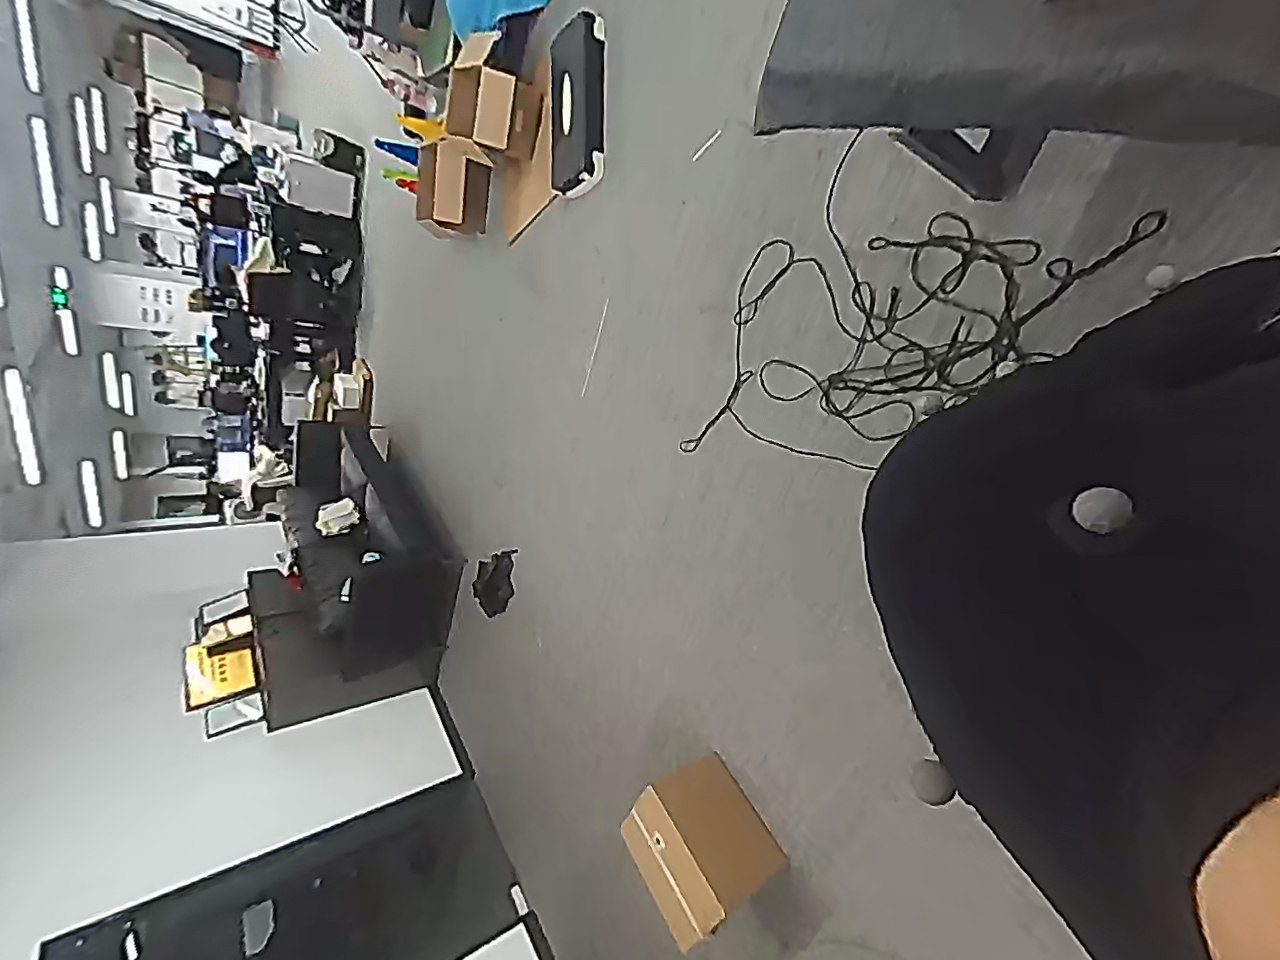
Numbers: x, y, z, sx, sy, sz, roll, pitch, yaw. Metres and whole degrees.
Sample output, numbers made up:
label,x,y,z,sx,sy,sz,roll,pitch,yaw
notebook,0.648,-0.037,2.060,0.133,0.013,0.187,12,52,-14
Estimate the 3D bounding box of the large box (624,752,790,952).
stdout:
label,x,y,z,sx,sy,sz,roll,pitch,yaw
large box,0.214,1.220,1.811,0.408,0.320,0.320,49,127,38
